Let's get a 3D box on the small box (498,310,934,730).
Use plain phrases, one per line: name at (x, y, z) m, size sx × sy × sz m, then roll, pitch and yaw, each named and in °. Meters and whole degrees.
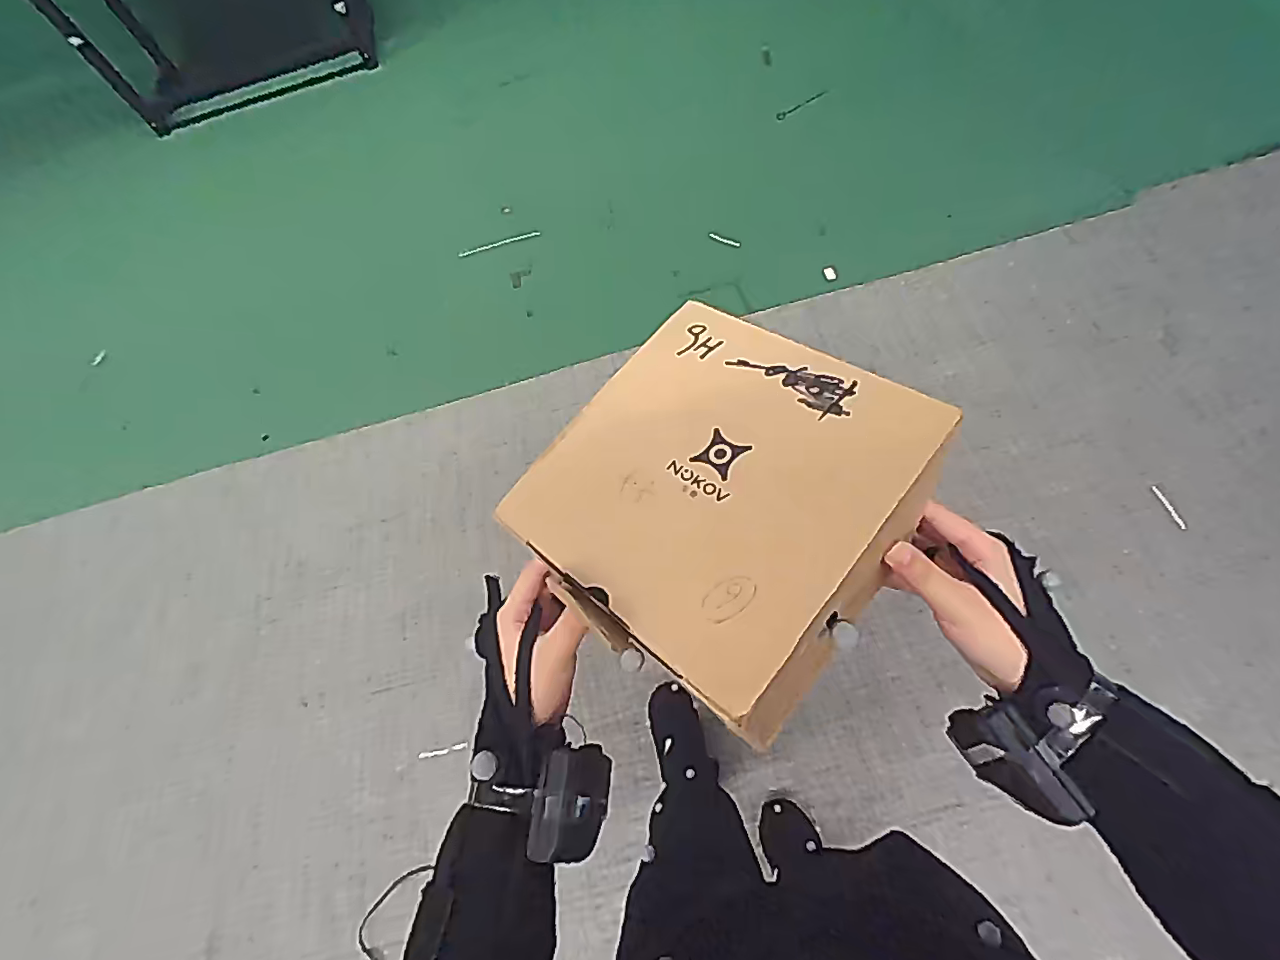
small box at (0.053, 0.033, 0.347) m, size 0.168 × 0.176 × 0.179 m, roll 34°, pitch 76°, yaw 30°
